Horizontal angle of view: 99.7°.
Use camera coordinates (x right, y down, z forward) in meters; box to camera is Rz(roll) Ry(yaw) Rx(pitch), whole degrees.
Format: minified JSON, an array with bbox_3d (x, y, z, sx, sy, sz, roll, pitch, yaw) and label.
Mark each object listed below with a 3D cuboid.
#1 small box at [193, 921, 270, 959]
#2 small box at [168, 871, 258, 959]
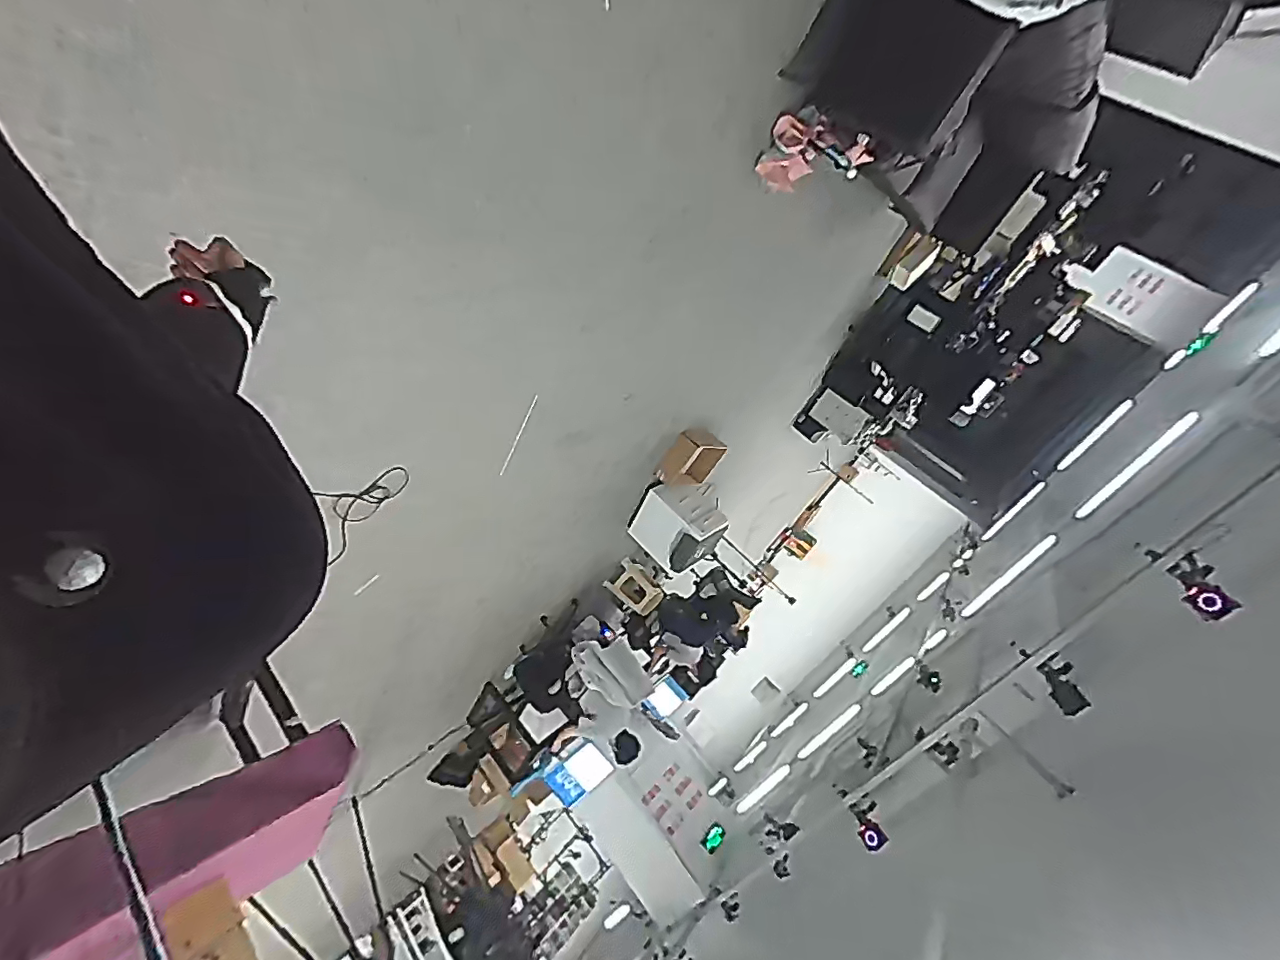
[{"bbox_3d":[-1.252,1.509,1.652,0.168,0.176,0.179,-15,142,-53],"label":"small box"},{"bbox_3d":[-1.357,1.399,1.717,0.179,0.176,0.168,-14,142,-52],"label":"small box"}]
